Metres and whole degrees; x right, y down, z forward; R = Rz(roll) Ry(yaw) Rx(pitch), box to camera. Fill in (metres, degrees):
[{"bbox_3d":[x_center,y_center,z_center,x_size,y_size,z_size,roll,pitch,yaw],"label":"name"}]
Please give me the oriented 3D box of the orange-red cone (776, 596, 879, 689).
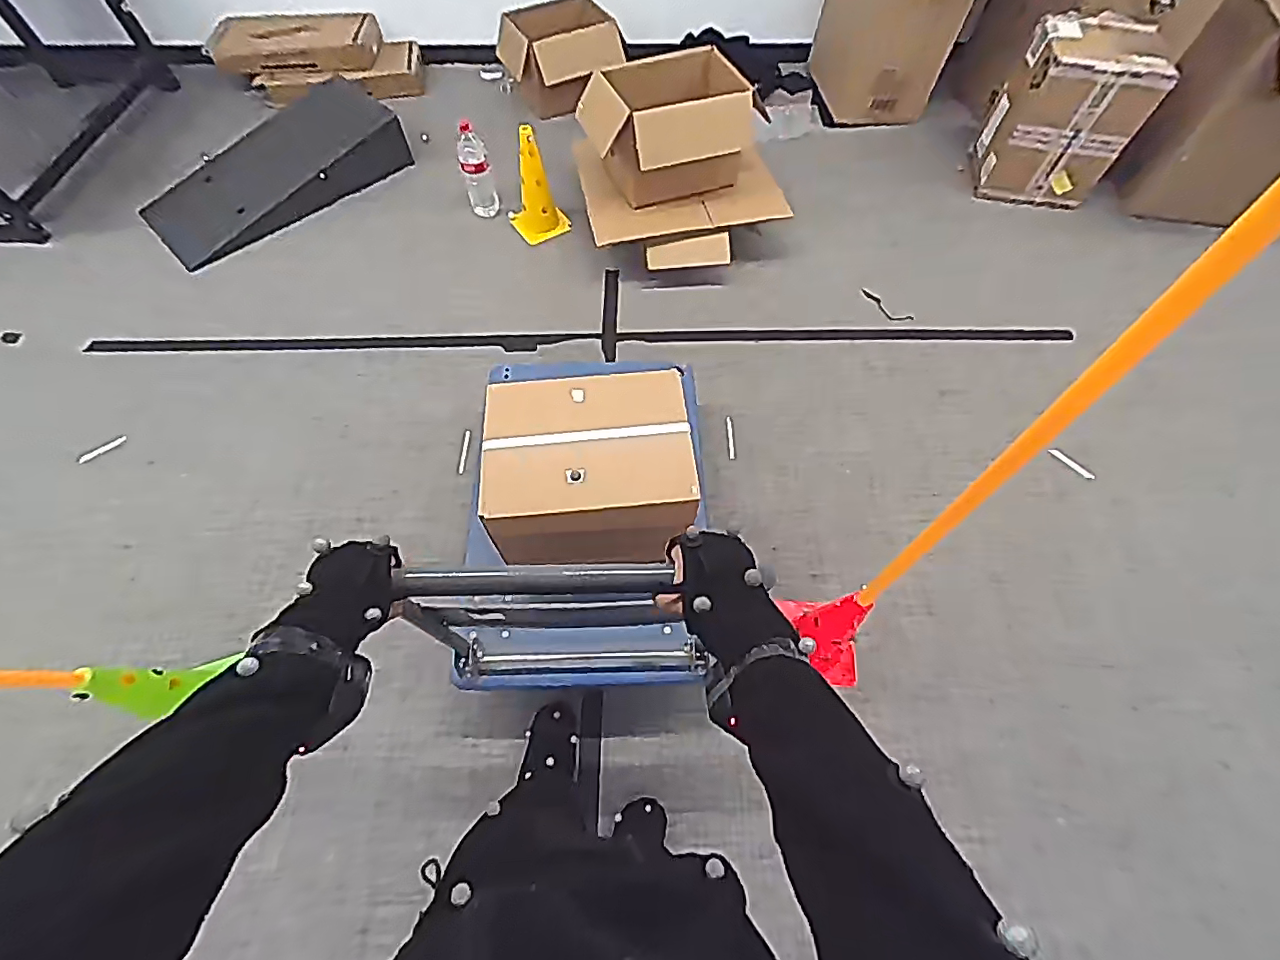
[{"bbox_3d":[0.439,0.322,1.185,0.199,0.360,0.198,6,61,2],"label":"orange-red cone"}]
